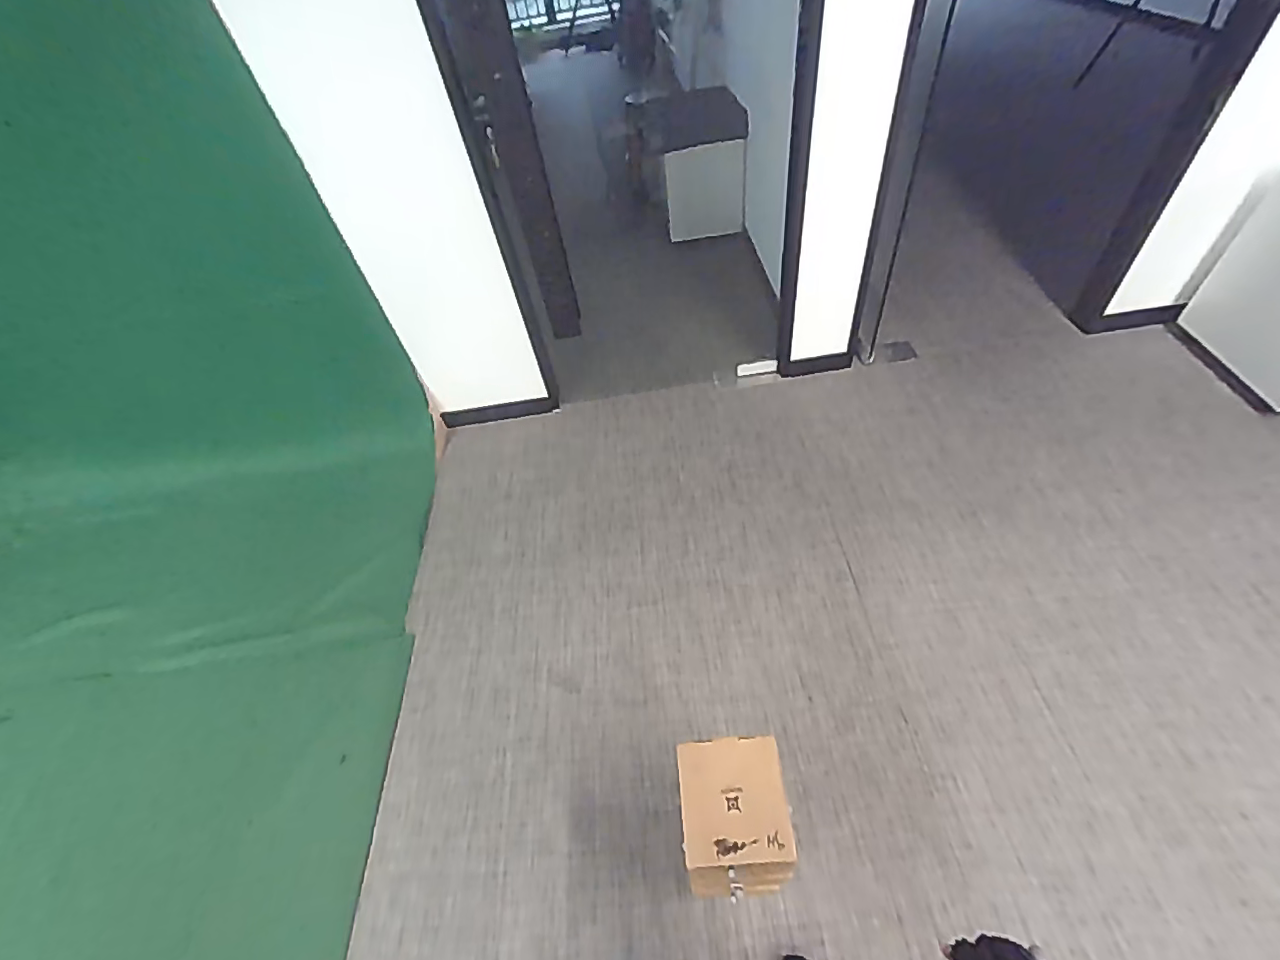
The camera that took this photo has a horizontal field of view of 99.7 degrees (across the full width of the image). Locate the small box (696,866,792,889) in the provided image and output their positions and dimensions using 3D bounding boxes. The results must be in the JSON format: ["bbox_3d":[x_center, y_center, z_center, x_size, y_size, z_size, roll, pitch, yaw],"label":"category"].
[{"bbox_3d":[0.185,0.662,1.032,0.168,0.176,0.179,-8,49,5],"label":"small box"}]

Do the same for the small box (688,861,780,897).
[{"bbox_3d":[0.191,0.775,1.148,0.179,0.176,0.168,-7,48,5],"label":"small box"}]

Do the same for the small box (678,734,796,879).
[{"bbox_3d":[0.157,0.552,0.913,0.168,0.176,0.179,-7,47,5],"label":"small box"}]
